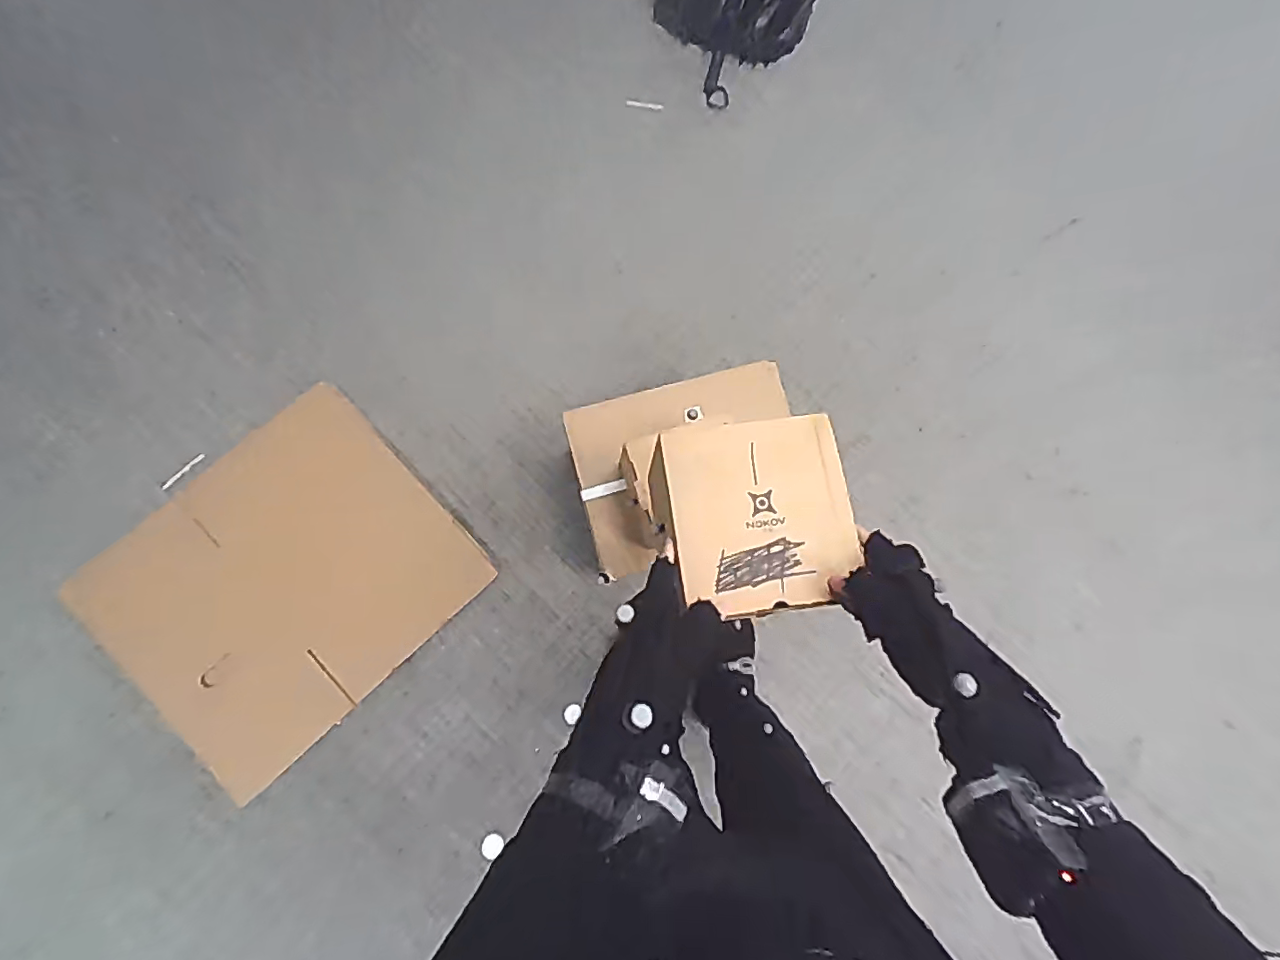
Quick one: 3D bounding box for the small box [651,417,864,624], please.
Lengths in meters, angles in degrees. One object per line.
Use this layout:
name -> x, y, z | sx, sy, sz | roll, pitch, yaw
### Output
small box -> 0.106, 0.052, 0.572 | 0.168, 0.176, 0.179 | -8, 75, -4

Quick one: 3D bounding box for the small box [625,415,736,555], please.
small box -> 0.083, 0.019, 0.878 | 0.179, 0.176, 0.168 | -21, 81, -7
